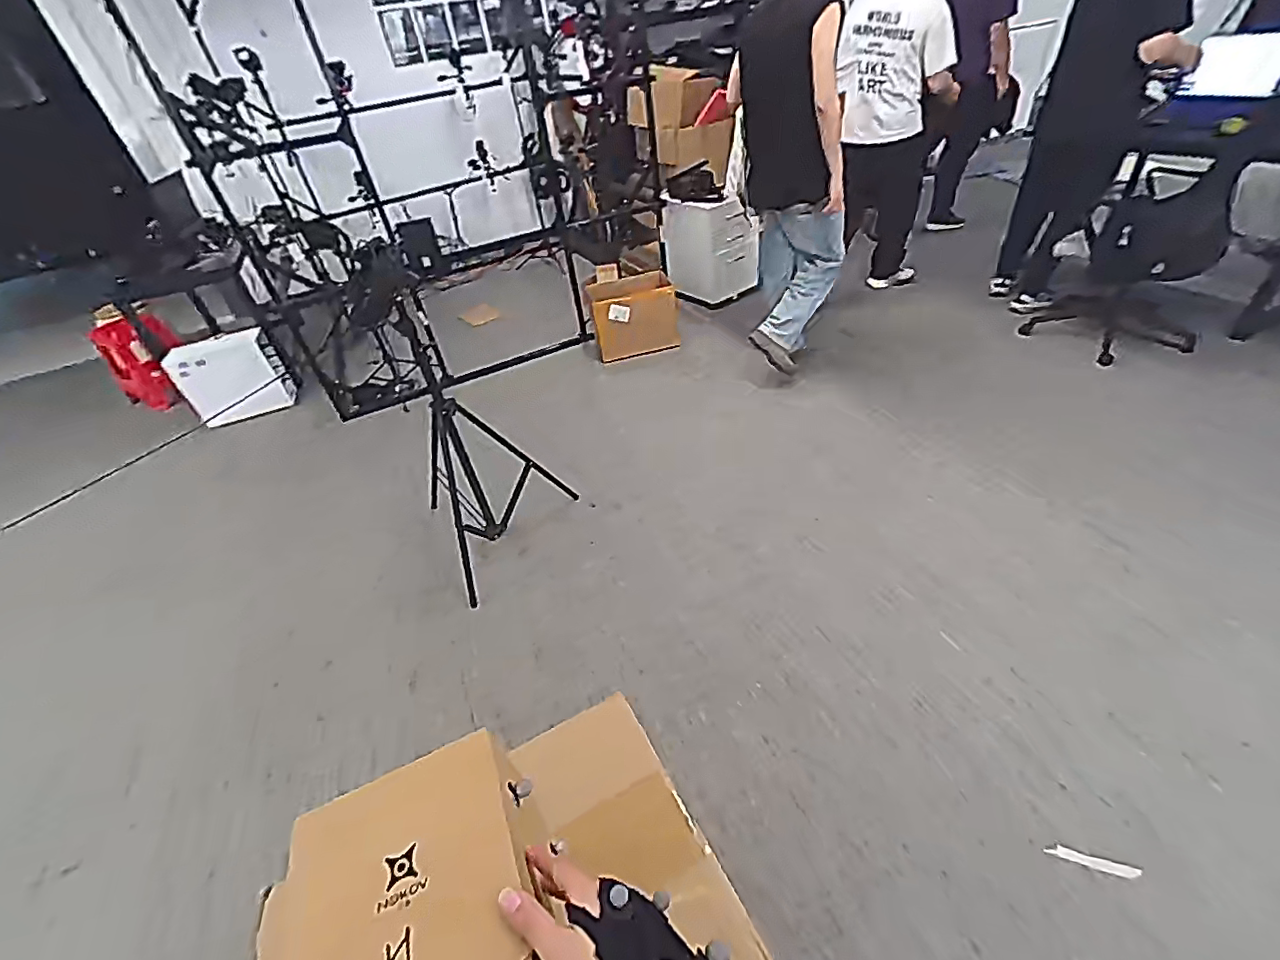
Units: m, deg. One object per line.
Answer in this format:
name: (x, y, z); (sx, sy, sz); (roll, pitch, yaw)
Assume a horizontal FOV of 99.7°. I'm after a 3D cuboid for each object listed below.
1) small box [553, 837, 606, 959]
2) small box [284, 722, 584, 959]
small box: (-0.133, 0.477, 0.538); (0.168, 0.176, 0.179); (-23, 40, -15)
small box: (-0.156, 0.345, 0.440); (0.168, 0.176, 0.179); (-22, 39, -13)
